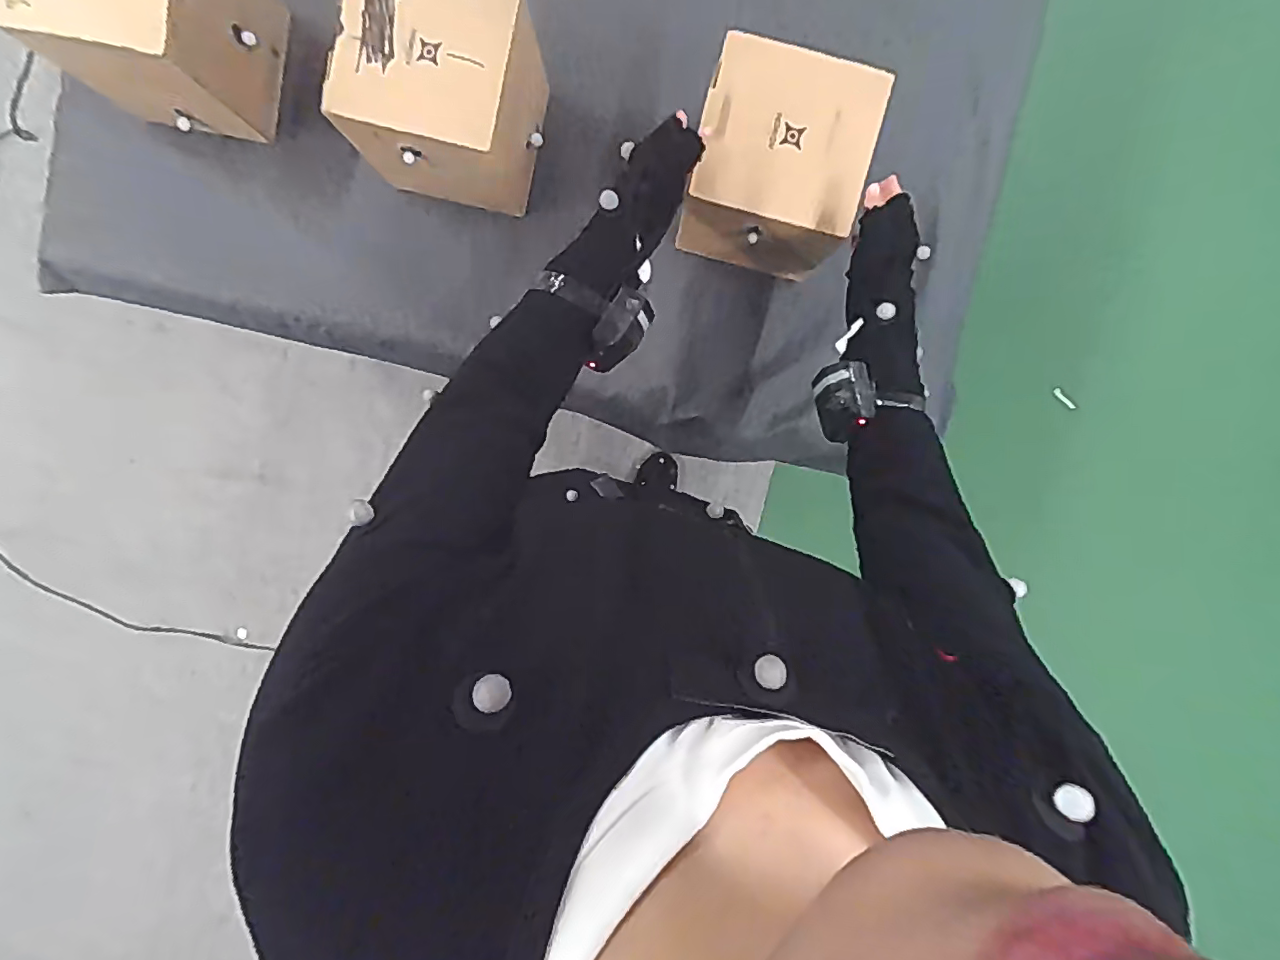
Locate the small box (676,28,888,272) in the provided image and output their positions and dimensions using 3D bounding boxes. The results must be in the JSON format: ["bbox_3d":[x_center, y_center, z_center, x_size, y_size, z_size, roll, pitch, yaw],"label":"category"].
[{"bbox_3d":[0.146,-0.360,0.628,0.179,0.176,0.168,14,96,-2],"label":"small box"}]

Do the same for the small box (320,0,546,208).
[{"bbox_3d":[-0.219,-0.439,0.617,0.179,0.176,0.168,13,95,-2],"label":"small box"}]

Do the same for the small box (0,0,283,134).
[{"bbox_3d":[-0.542,-0.526,0.608,0.179,0.176,0.168,10,95,-2],"label":"small box"}]
